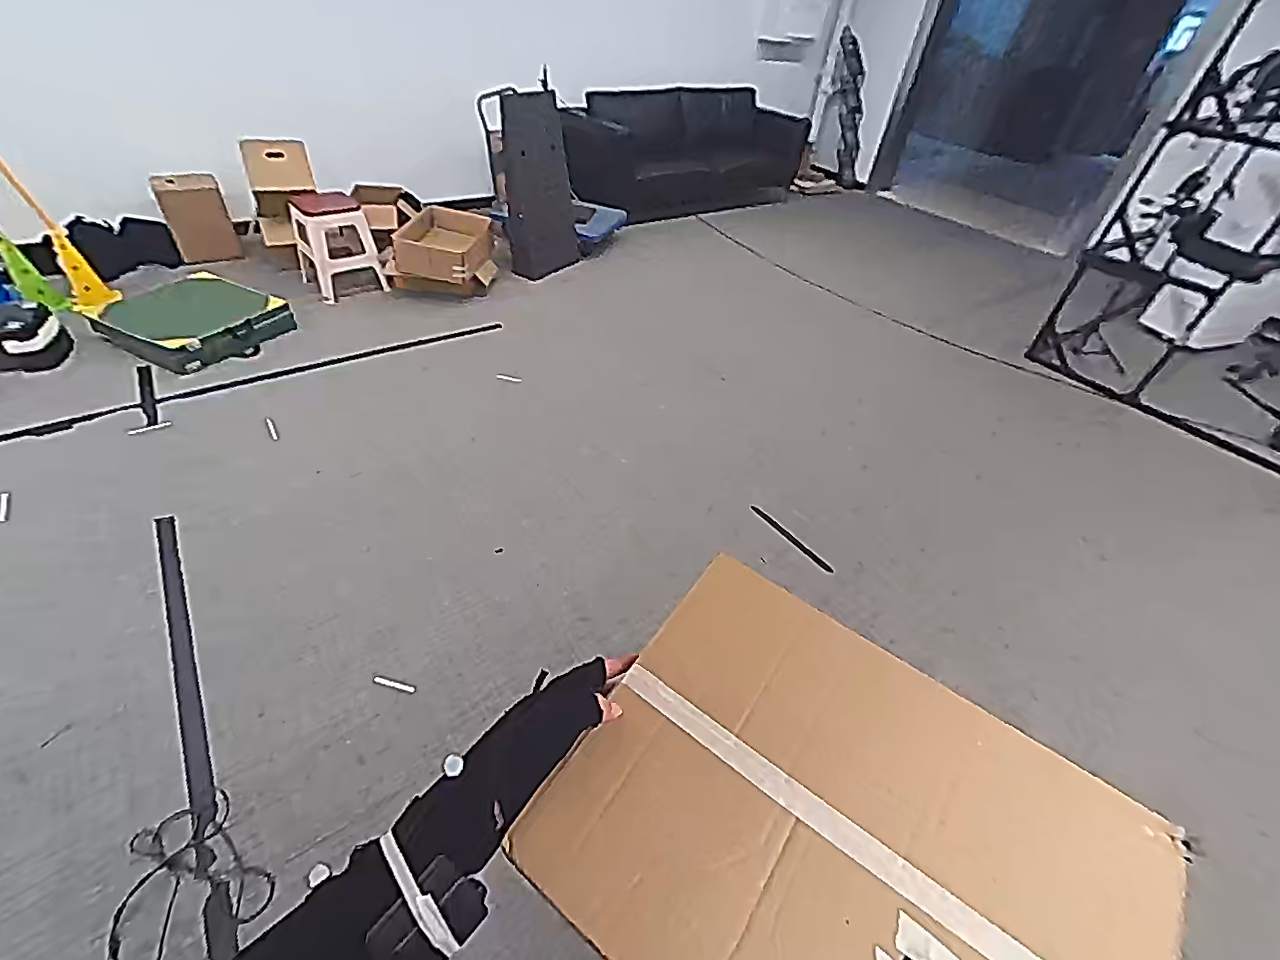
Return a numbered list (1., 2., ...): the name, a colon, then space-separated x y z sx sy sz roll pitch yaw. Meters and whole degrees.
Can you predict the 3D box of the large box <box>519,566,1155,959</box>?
1. large box: 0.148 0.364 0.524 0.408 0.320 0.320 31 55 22
